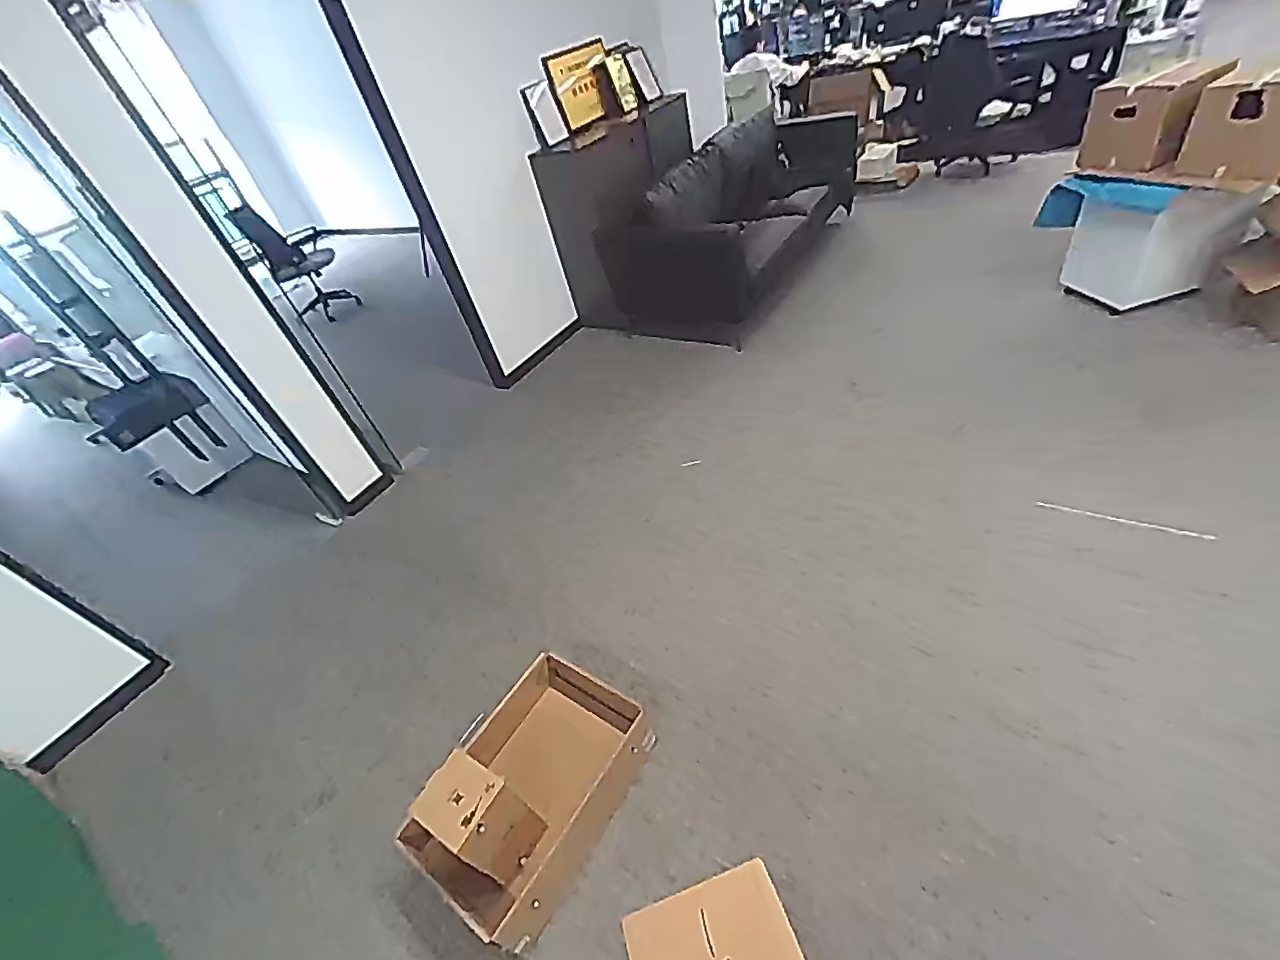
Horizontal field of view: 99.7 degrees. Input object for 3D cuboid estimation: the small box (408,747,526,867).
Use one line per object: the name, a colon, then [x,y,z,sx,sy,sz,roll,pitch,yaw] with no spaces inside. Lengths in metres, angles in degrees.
small box: [-0.409,0.787,1.299,0.179,0.176,0.168,15,50,31]

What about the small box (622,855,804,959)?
small box: [0.094,0.543,0.565,0.168,0.176,0.179,-18,37,-8]
